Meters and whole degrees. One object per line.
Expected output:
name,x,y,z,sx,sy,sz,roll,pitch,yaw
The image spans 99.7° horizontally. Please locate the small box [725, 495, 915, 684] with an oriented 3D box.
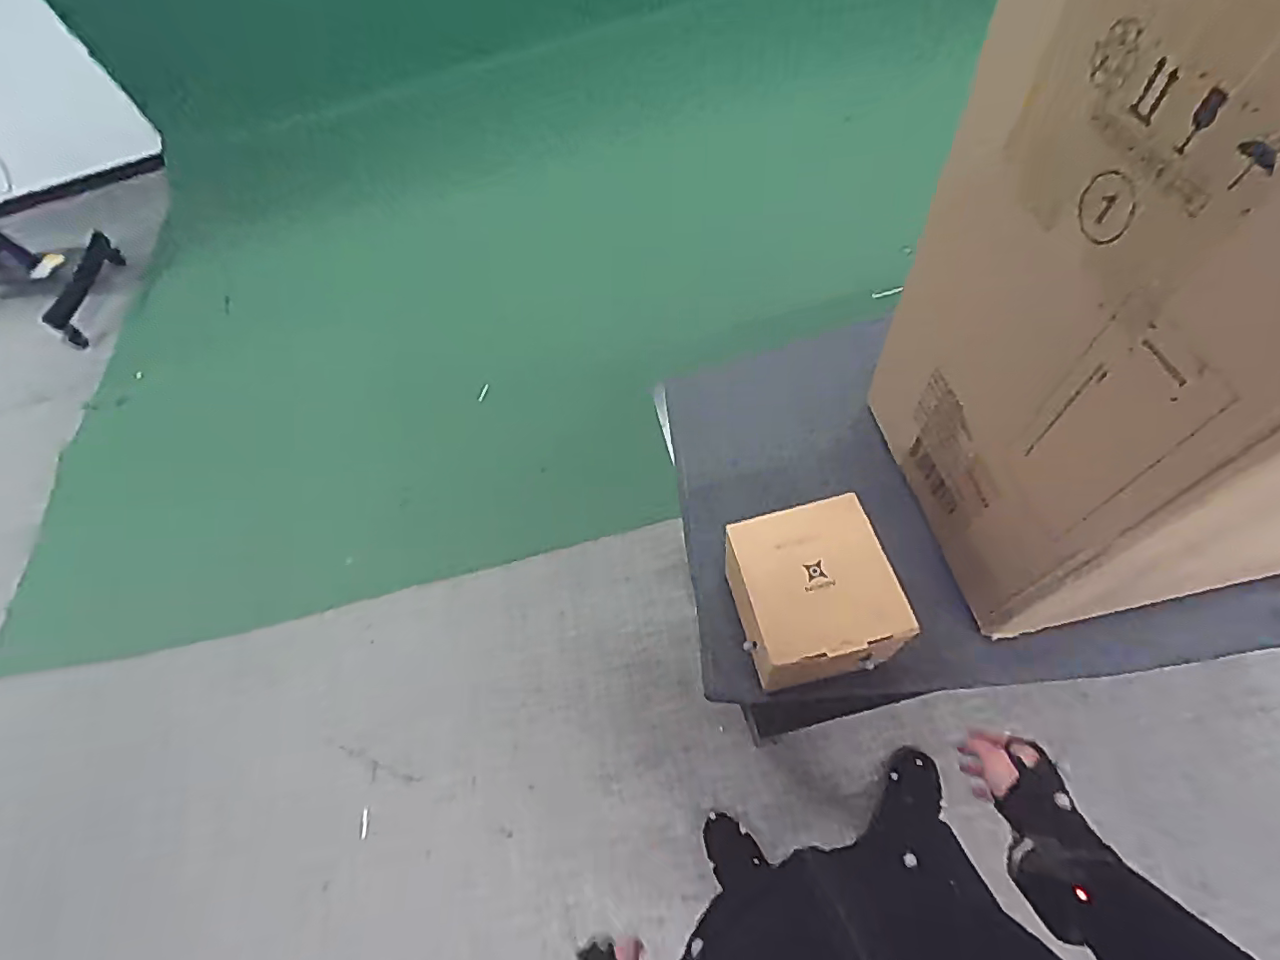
small box,0.214,0.150,0.694,0.168,0.176,0.179,-15,57,-1
